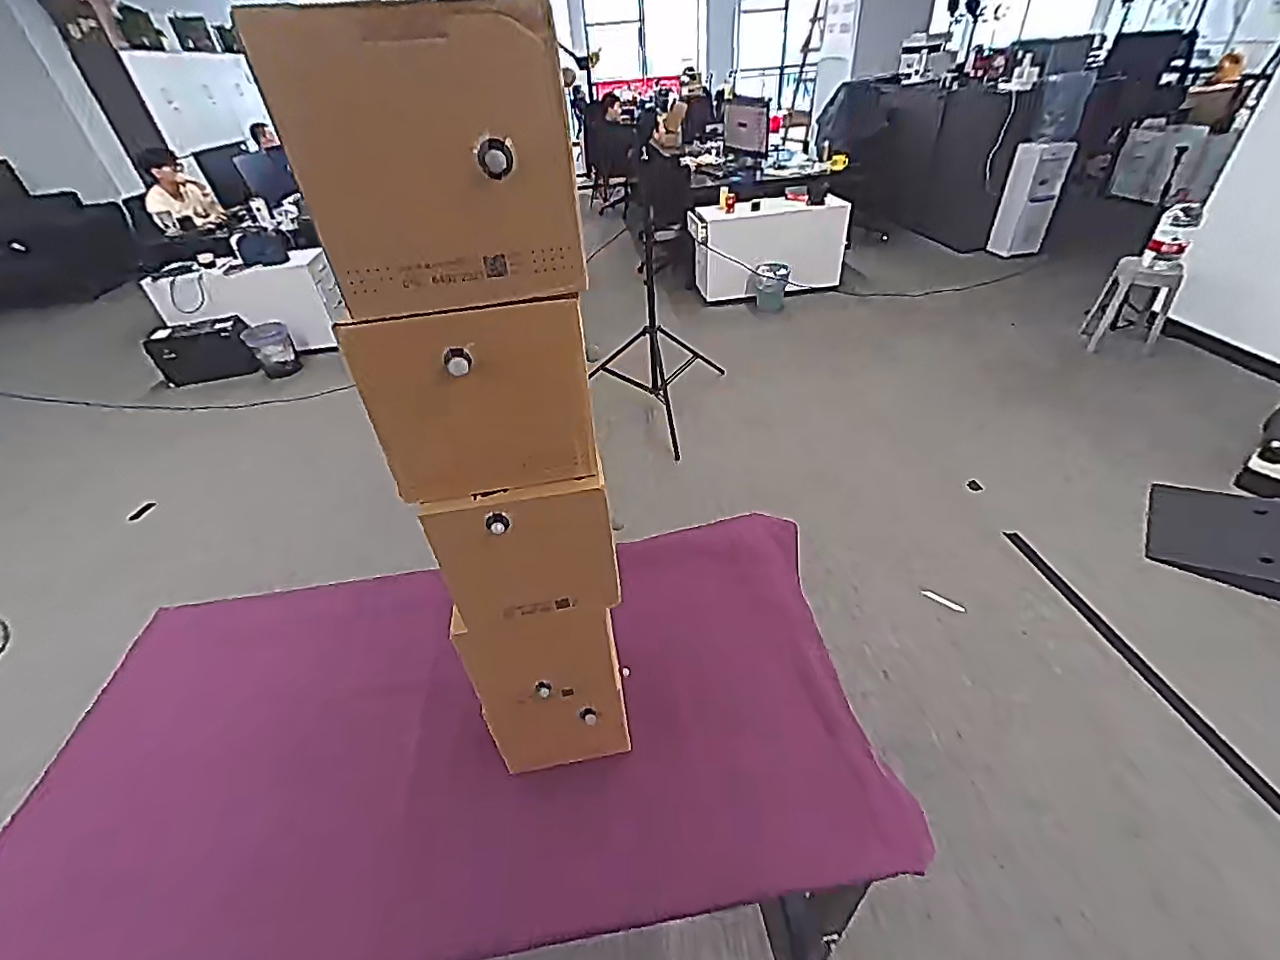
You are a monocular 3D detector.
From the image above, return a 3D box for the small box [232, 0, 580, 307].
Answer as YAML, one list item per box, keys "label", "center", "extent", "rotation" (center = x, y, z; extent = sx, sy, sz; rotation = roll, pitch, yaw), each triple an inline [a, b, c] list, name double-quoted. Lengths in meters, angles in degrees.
- label: "small box"
  center: [-0.141, -0.235, 0.399]
  extent: [0.168, 0.176, 0.179]
  rotation: [-9, 37, -7]

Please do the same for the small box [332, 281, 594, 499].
- label: "small box"
  center: [-0.138, -0.104, 0.496]
  extent: [0.179, 0.176, 0.168]
  rotation: [-10, 38, -5]

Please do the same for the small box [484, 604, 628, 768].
- label: "small box"
  center: [-0.114, 0.289, 0.787]
  extent: [0.179, 0.176, 0.168]
  rotation: [-9, 38, -4]

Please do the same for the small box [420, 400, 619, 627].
- label: "small box"
  center: [-0.119, 0.029, 0.587]
  extent: [0.168, 0.176, 0.179]
  rotation: [-9, 38, -5]
